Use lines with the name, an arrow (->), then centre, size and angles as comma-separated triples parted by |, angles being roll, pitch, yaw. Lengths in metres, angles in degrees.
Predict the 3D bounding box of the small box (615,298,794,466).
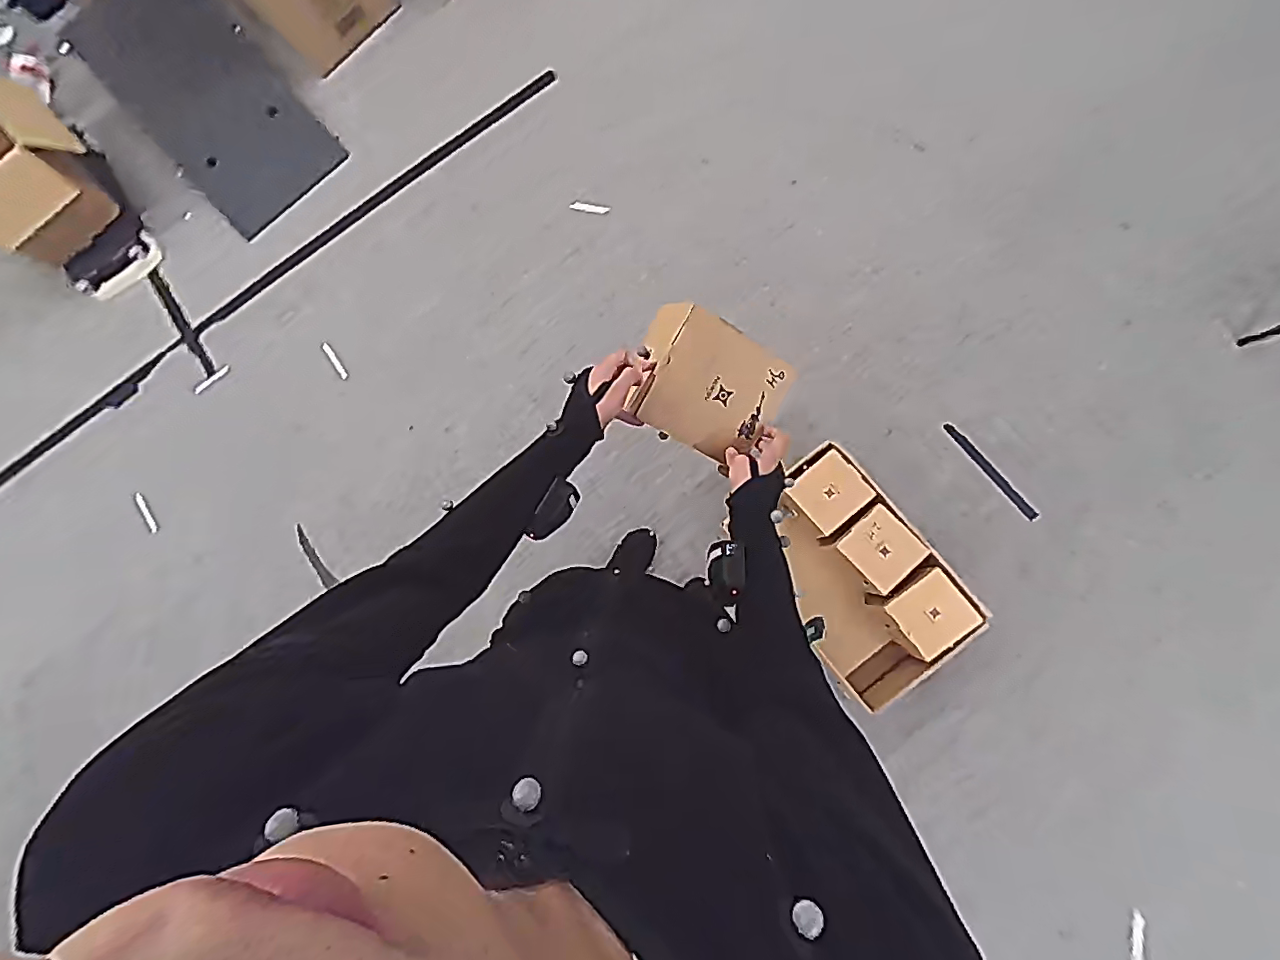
small box -> 0.080, -0.144, 0.789 | 0.179, 0.176, 0.168 | 26, 99, -18

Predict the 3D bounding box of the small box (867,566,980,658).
small box -> 0.738, 0.339, 1.432 | 0.179, 0.176, 0.168 | -37, 79, 1
